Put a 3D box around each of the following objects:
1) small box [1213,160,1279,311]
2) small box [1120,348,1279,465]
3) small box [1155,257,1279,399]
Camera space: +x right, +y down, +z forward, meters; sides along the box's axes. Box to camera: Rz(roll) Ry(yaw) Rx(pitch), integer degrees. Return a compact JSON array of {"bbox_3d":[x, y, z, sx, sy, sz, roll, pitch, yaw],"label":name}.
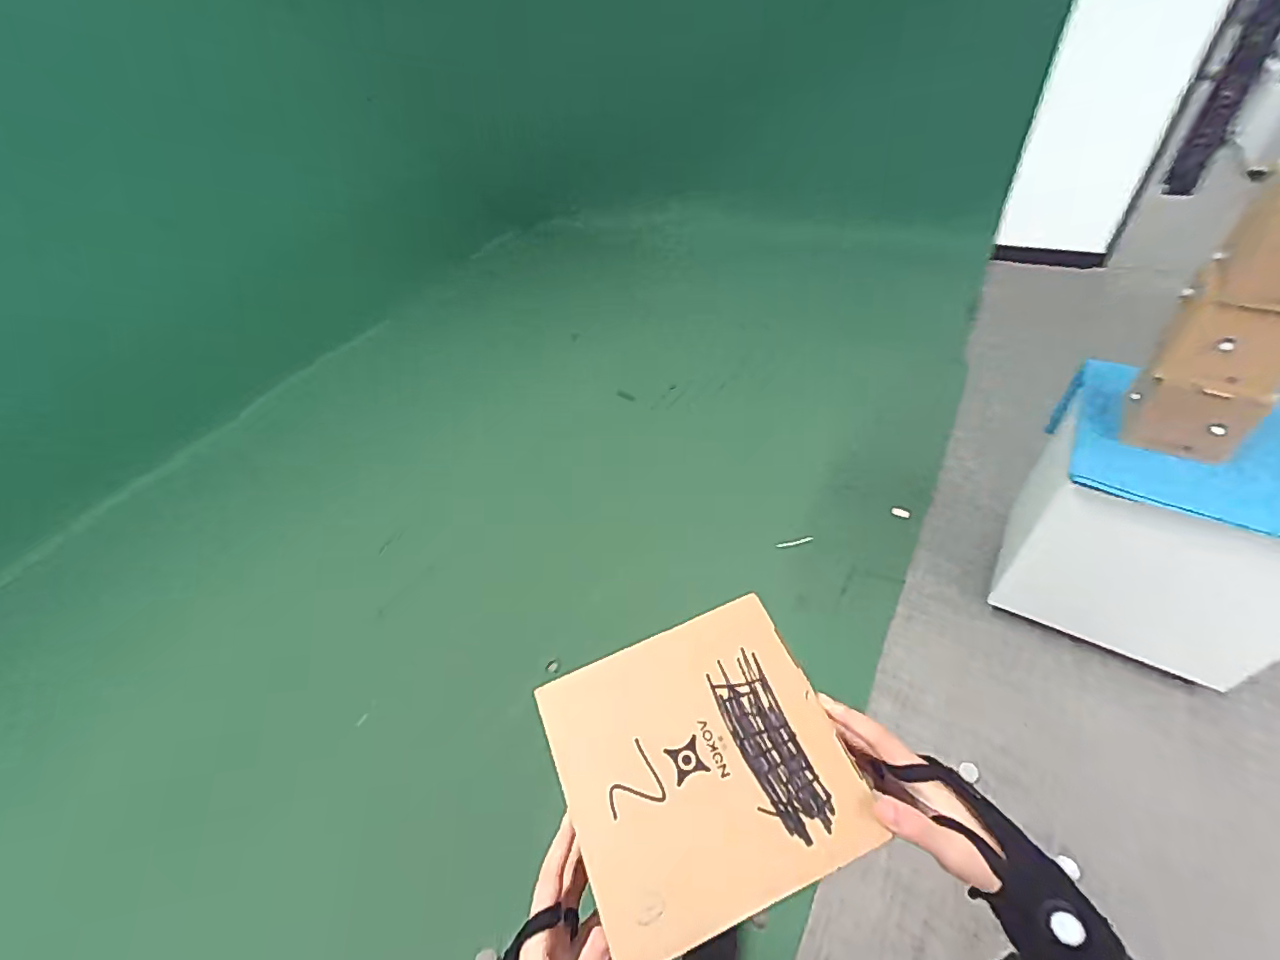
[{"bbox_3d":[1.051,-0.374,0.842,0.168,0.176,0.179,22,54,27],"label":"small box"},{"bbox_3d":[1.103,-0.158,1.080,0.168,0.176,0.179,21,53,26],"label":"small box"},{"bbox_3d":[1.072,-0.272,0.969,0.168,0.176,0.179,22,53,27],"label":"small box"}]
